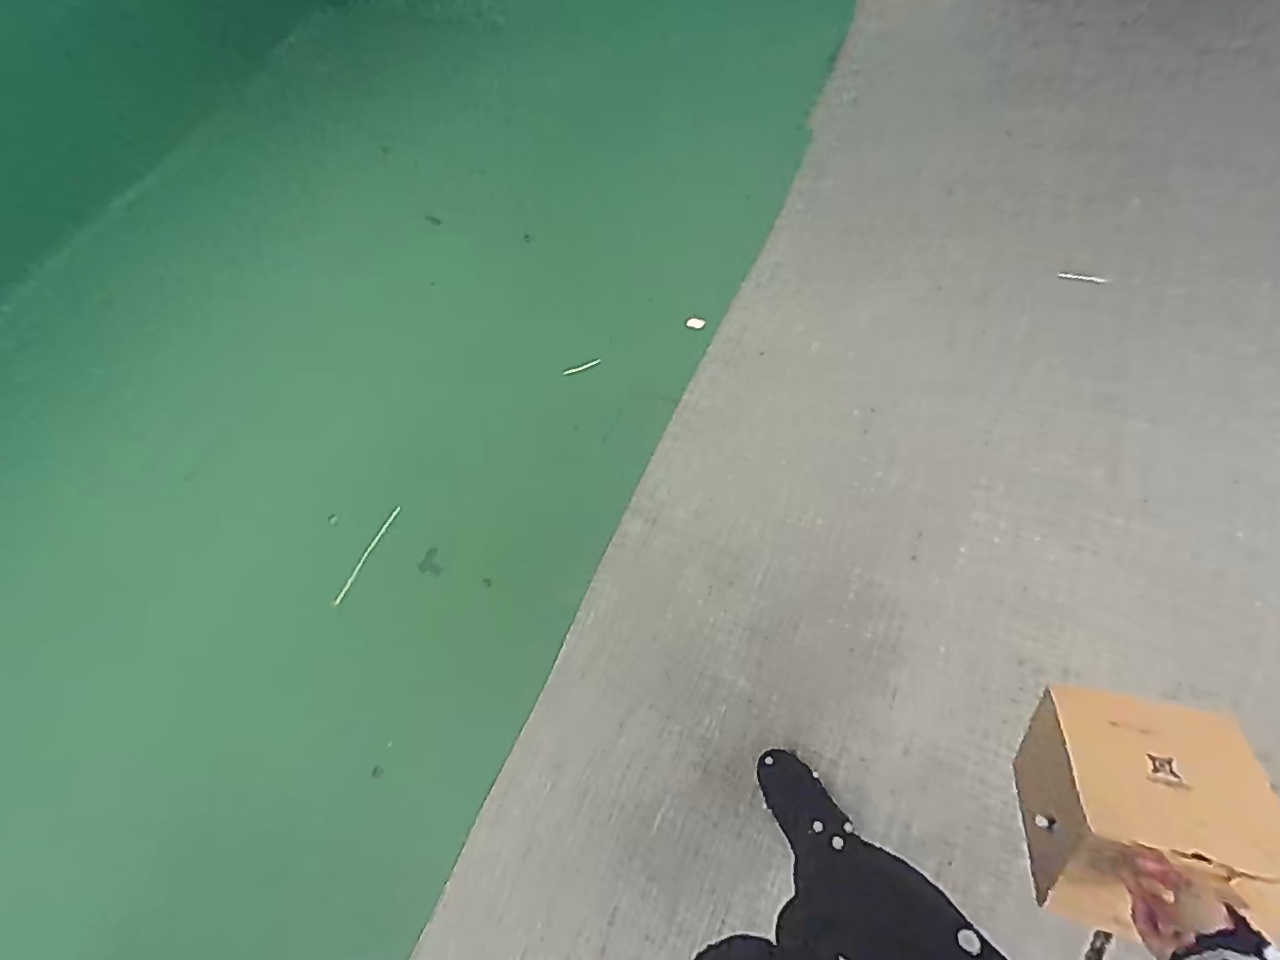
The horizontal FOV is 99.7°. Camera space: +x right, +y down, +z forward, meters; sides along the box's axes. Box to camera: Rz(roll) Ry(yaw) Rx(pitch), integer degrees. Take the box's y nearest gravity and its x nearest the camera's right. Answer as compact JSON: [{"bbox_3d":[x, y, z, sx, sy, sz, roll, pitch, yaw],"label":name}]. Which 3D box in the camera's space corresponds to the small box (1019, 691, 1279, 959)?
[{"bbox_3d":[0.526,0.366,0.569,0.168,0.176,0.179,8,33,22],"label":"small box"}]
